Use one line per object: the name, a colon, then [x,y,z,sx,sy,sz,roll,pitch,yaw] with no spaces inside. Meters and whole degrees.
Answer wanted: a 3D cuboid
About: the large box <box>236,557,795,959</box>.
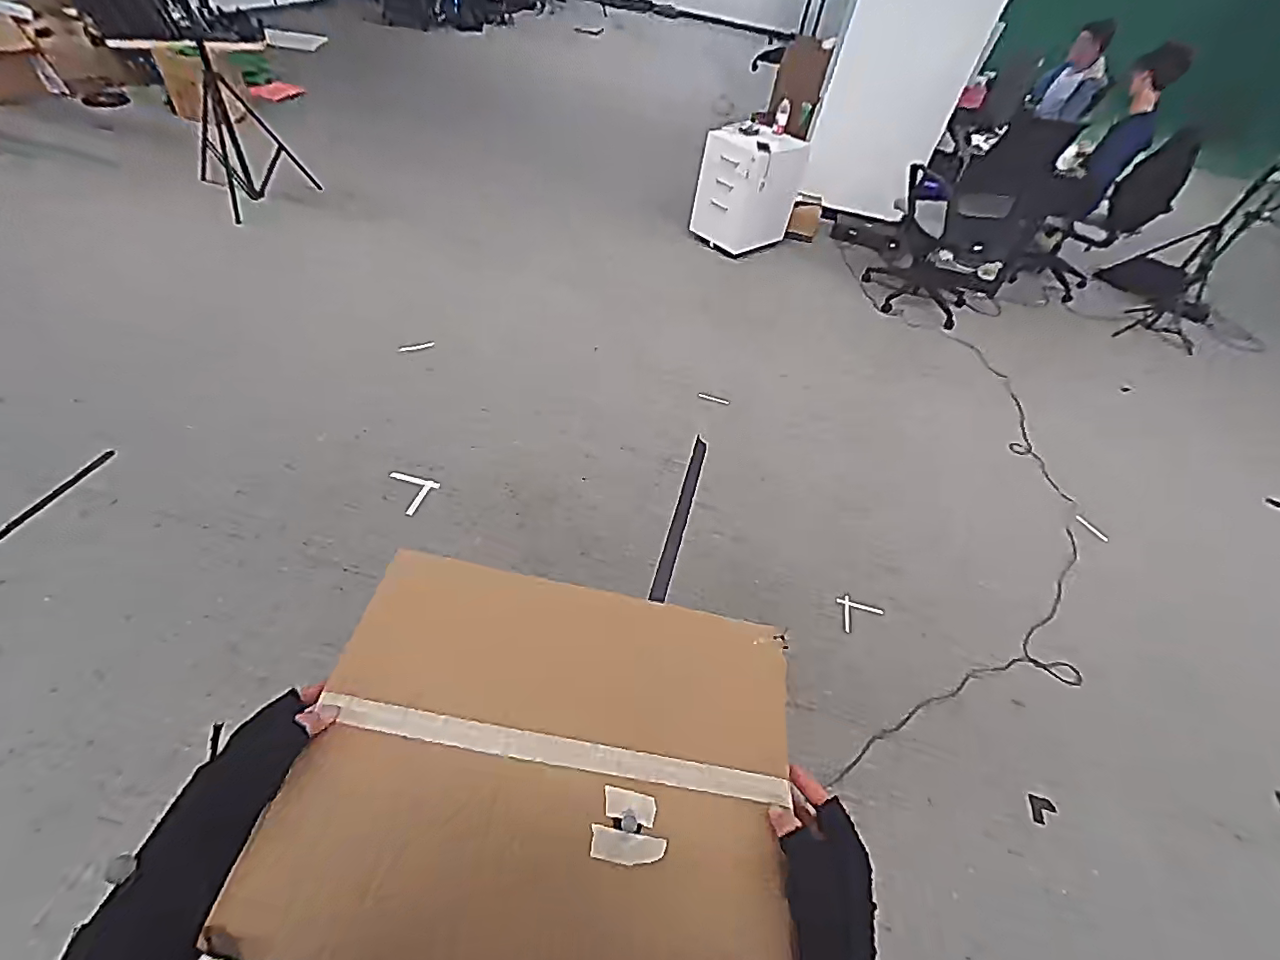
large box: [-0.091,0.325,0.583,0.408,0.320,0.320,13,50,-3]
